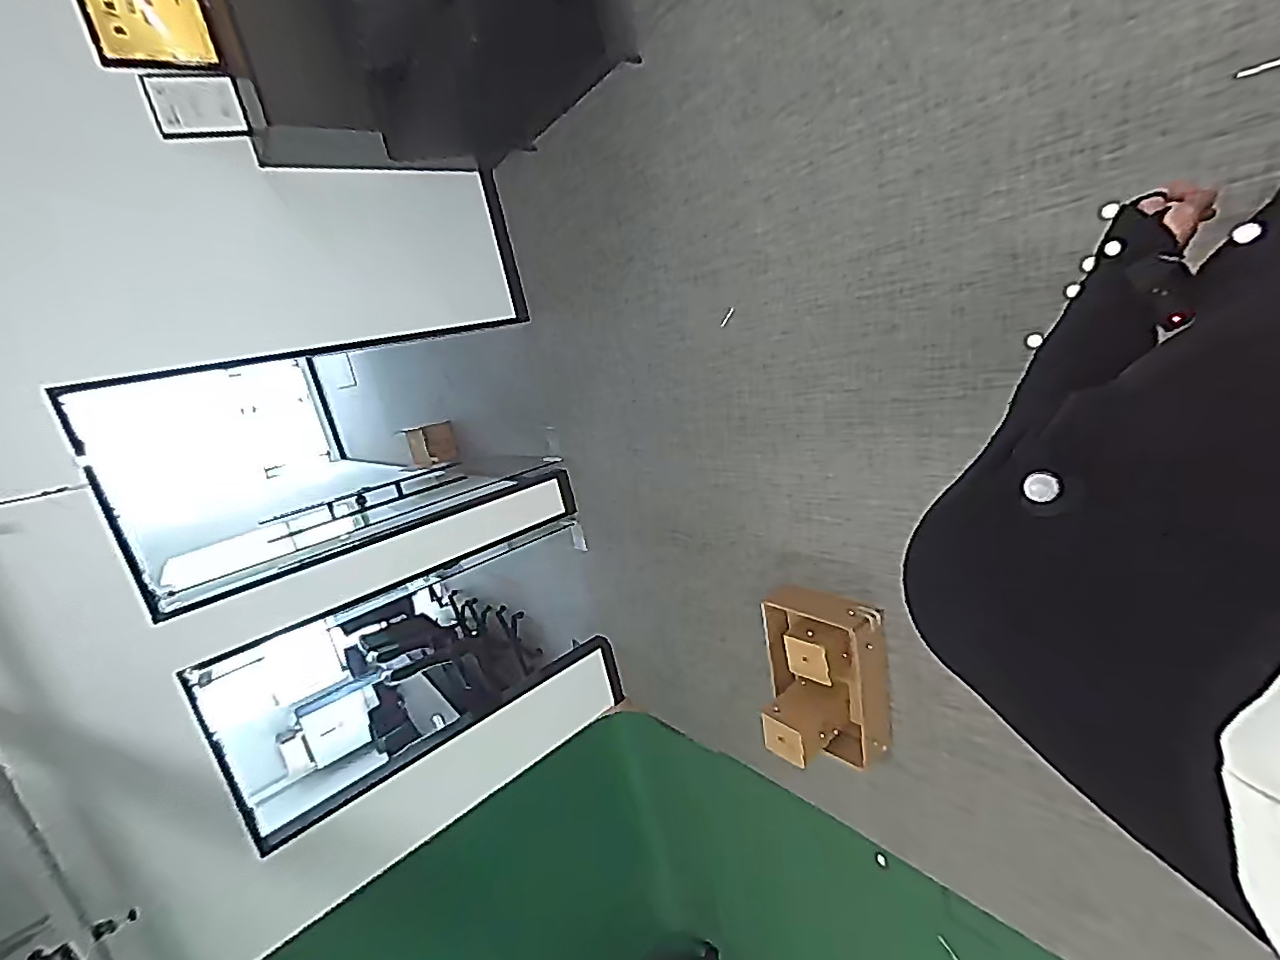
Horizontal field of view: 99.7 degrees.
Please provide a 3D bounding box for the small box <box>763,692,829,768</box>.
[{"bbox_3d":[0.590,0.935,2.045,0.179,0.176,0.168,10,115,49],"label":"small box"}]

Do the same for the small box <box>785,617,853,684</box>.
[{"bbox_3d":[0.683,0.642,2.061,0.179,0.176,0.168,3,109,49],"label":"small box"}]
